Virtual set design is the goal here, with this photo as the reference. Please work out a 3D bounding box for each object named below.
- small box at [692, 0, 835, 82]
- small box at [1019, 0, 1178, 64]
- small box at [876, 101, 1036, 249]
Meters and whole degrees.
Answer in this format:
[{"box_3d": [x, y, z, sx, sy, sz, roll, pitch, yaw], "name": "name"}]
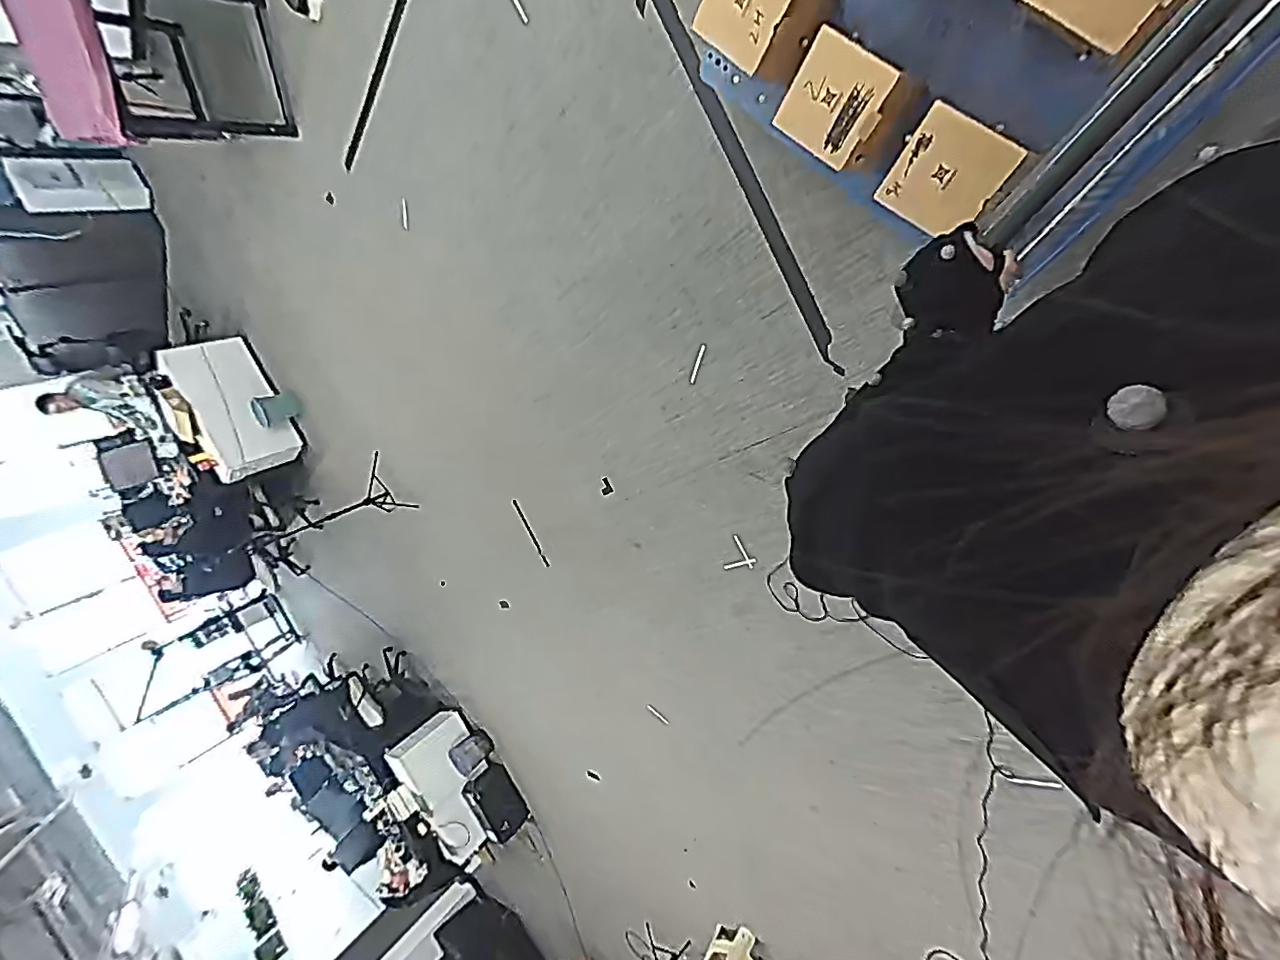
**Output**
[{"box_3d": [0.241, -0.913, 1.054, 0.179, 0.176, 0.168, 46, 135, 11], "name": "small box"}, {"box_3d": [0.685, -0.730, 0.768, 0.179, 0.176, 0.168, 46, 134, 13], "name": "small box"}, {"box_3d": [0.569, -0.545, 0.971, 0.179, 0.176, 0.168, 43, 133, 15], "name": "small box"}]
